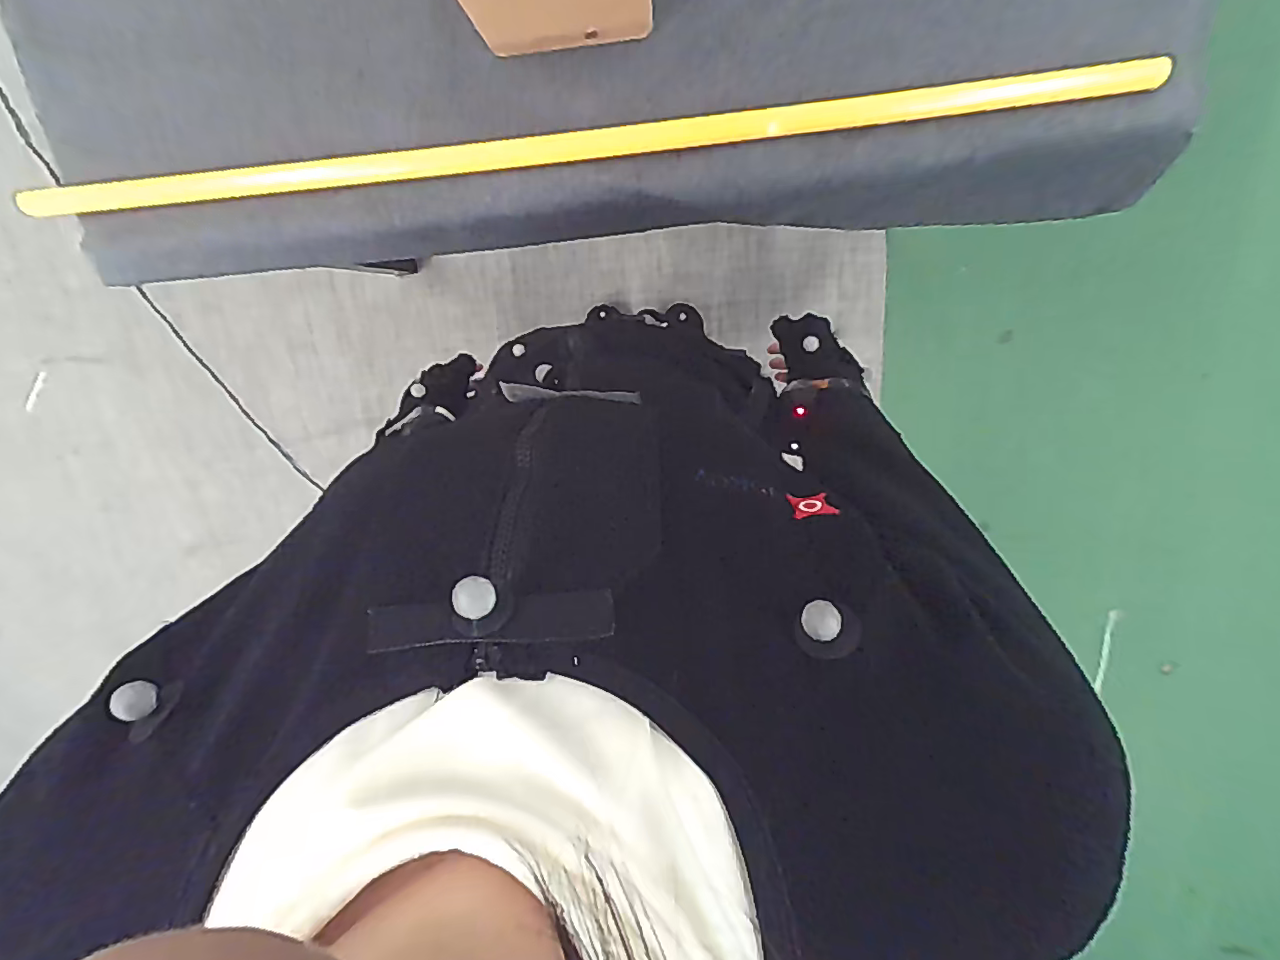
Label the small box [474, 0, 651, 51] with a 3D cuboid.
[{"bbox_3d":[-0.080,-0.510,0.455,0.168,0.176,0.179,-4,107,5],"label":"small box"}]
